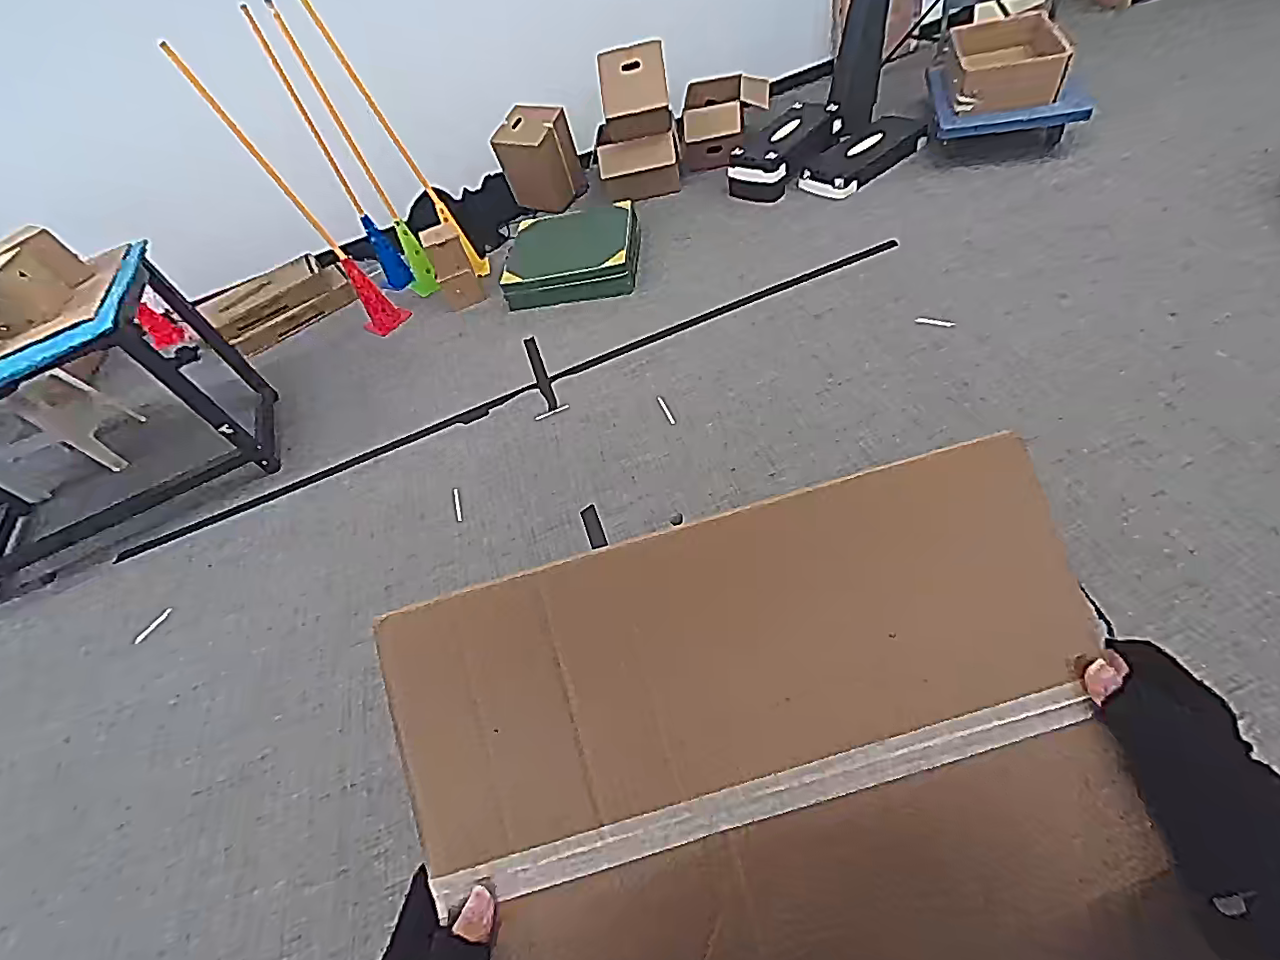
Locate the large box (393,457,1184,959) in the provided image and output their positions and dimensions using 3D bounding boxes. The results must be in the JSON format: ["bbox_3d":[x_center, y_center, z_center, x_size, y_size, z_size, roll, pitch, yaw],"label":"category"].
[{"bbox_3d":[0.083,0.201,0.467,0.408,0.320,0.320,-17,83,-1],"label":"large box"}]
